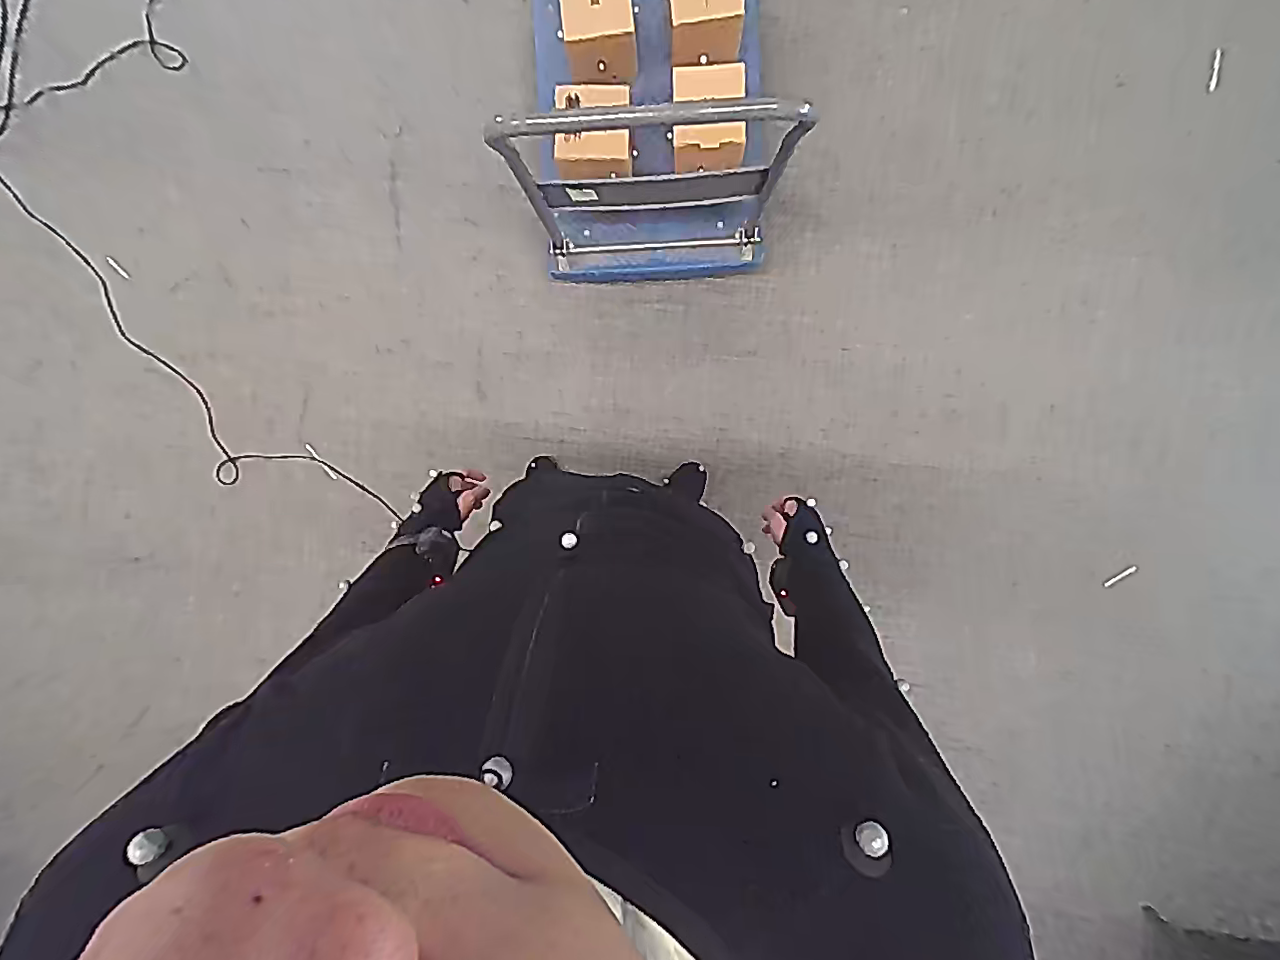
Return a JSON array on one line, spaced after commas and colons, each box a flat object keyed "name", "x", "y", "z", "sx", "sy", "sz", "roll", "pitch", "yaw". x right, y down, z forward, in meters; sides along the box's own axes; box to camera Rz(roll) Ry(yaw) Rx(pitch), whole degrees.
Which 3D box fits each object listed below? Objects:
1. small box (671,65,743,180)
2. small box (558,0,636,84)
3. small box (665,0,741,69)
[{"name": "small box", "x": 0.160, "y": -0.869, "z": 1.328, "sx": 0.168, "sy": 0.176, "sz": 0.179, "roll": -1, "pitch": 94, "yaw": 3}, {"name": "small box", "x": -0.103, "y": -1.111, "z": 1.327, "sx": 0.168, "sy": 0.176, "sz": 0.179, "roll": -6, "pitch": 93, "yaw": 3}, {"name": "small box", "x": 0.147, "y": -1.139, "z": 1.311, "sx": 0.168, "sy": 0.176, "sz": 0.179, "roll": -6, "pitch": 94, "yaw": 5}]
